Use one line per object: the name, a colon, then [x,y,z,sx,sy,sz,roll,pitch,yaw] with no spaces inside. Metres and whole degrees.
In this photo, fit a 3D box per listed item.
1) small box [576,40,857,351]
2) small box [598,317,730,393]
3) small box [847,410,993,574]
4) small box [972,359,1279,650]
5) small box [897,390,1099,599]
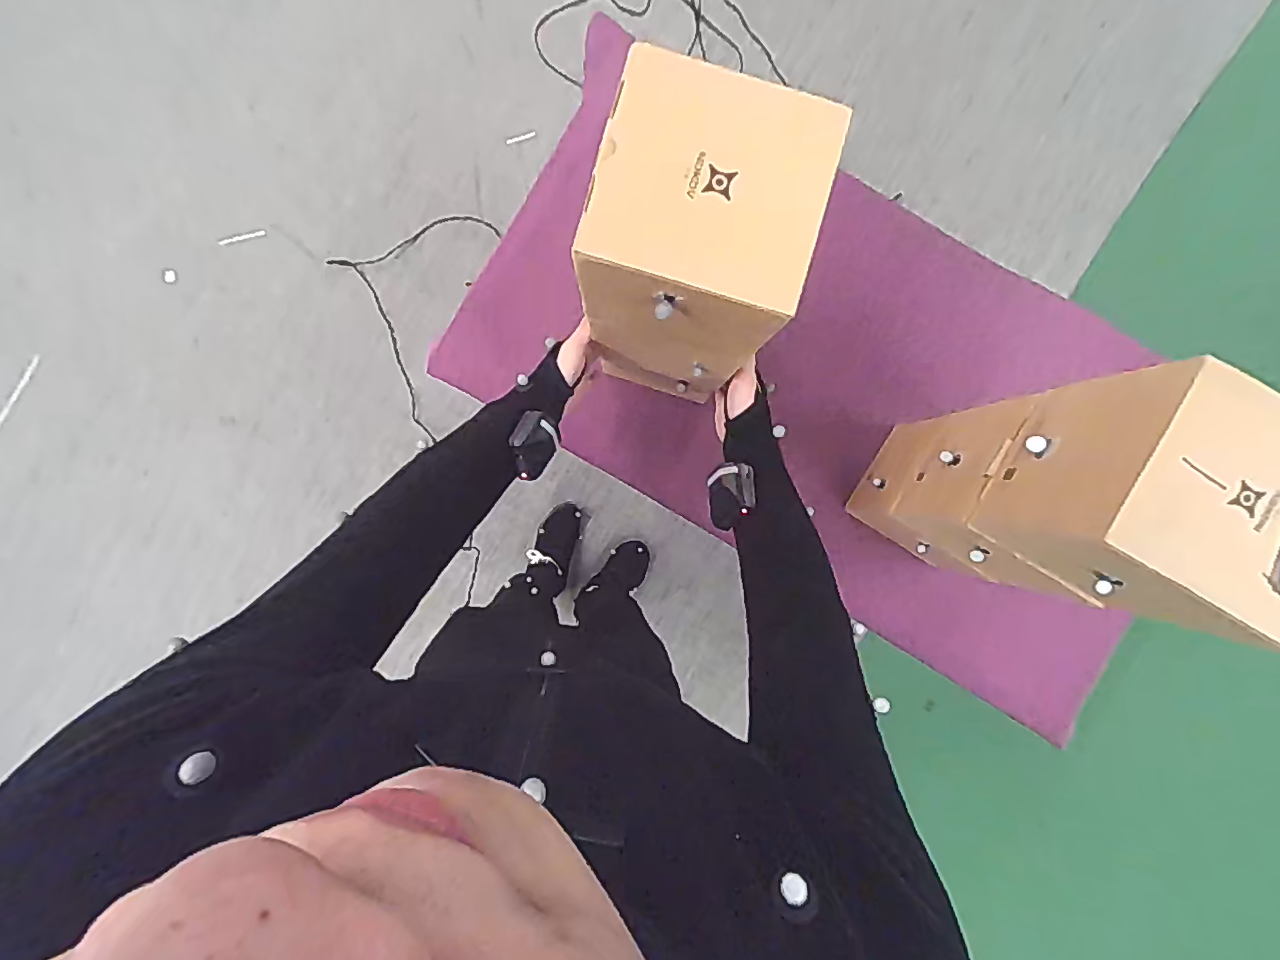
small box: [0.056,-0.225,0.481,0.179,0.176,0.168,16,91,-1]
small box: [0.048,-0.237,0.807,0.179,0.176,0.168,17,90,-1]
small box: [0.450,0.017,0.818,0.179,0.176,0.168,33,90,-1]
small box: [0.459,0.017,0.490,0.179,0.176,0.168,31,90,0]
small box: [0.454,0.017,0.655,0.179,0.176,0.168,32,91,0]
